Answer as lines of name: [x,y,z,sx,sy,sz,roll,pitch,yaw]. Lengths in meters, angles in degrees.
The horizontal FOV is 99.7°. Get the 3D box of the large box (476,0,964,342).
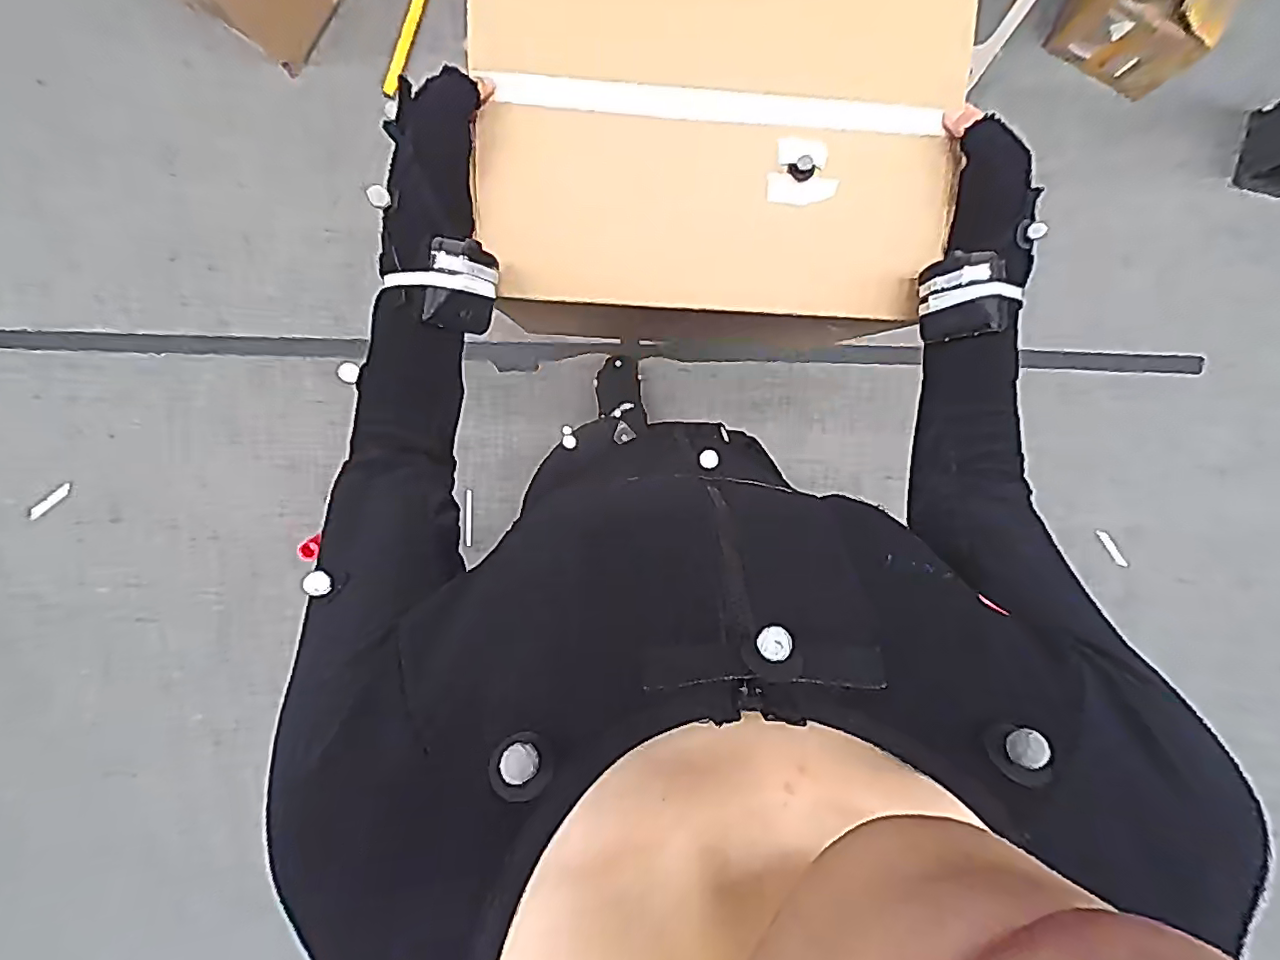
large box: [0.054,-0.329,0.592,0.408,0.320,0.320,2,99,-5]
